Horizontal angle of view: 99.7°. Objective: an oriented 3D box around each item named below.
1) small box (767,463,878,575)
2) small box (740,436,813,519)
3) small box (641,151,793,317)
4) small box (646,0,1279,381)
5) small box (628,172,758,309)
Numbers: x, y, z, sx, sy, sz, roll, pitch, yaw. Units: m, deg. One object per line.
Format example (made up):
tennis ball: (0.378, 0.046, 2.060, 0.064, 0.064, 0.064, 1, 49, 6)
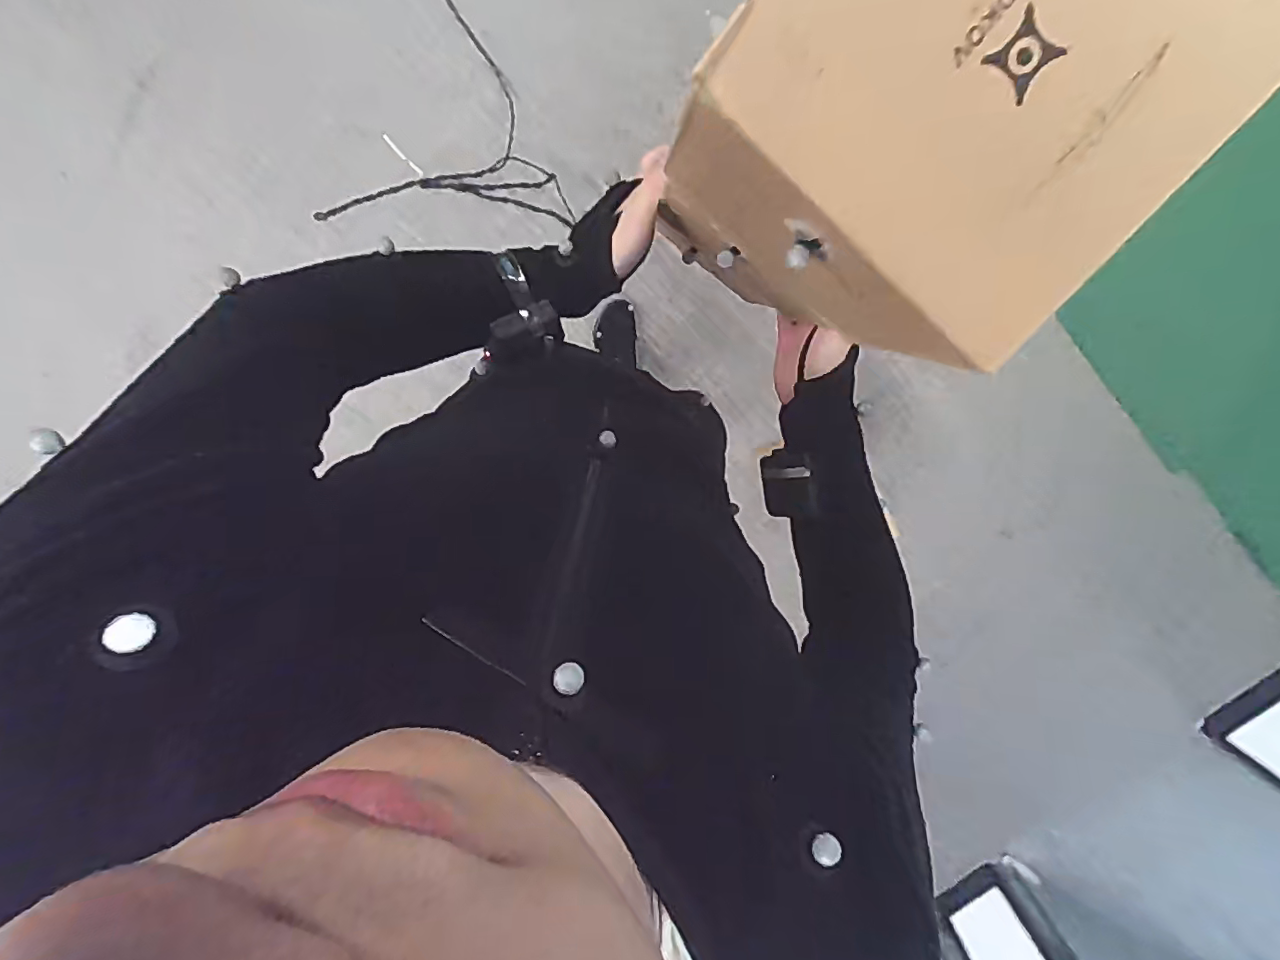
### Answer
small box: (0.412, 0.085, 1.259, 0.179, 0.176, 0.168, -28, 107, 6)
small box: (0.403, -0.016, 1.572, 0.168, 0.176, 0.179, -21, 108, 6)
small box: (0.113, -0.236, 0.411, 0.179, 0.176, 0.168, 34, 106, -14)
small box: (0.117, -0.175, 0.259, 0.179, 0.176, 0.168, 38, 105, -16)
small box: (0.103, -0.302, 0.561, 0.168, 0.176, 0.179, 34, 105, -14)
